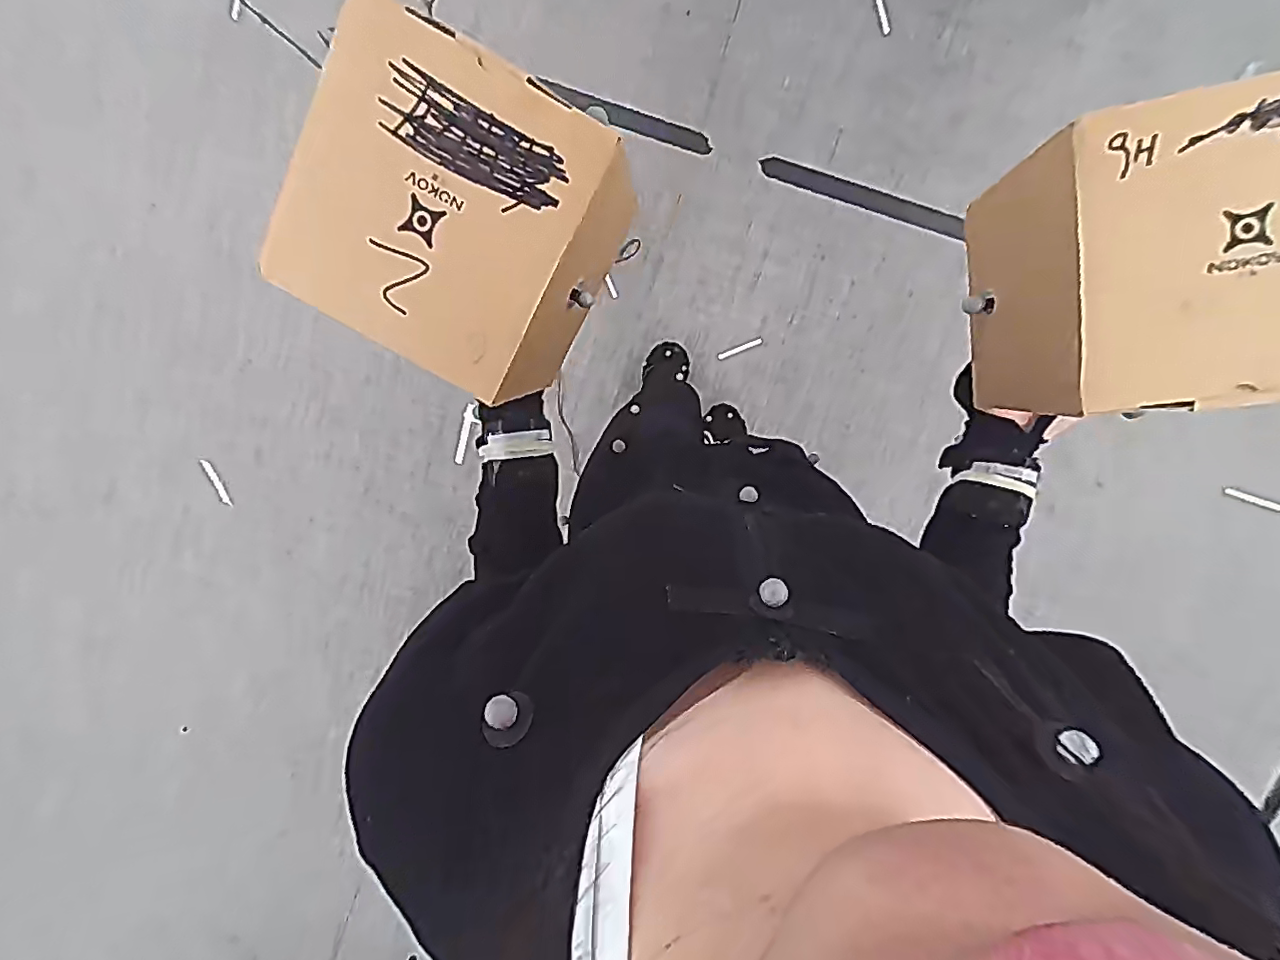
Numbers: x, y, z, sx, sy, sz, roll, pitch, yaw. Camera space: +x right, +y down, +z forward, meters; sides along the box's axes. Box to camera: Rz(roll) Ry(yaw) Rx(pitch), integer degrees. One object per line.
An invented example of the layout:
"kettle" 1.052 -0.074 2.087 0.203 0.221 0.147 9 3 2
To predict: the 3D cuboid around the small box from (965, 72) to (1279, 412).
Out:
"small box" 0.355 -0.151 0.388 0.168 0.176 0.179 -6 100 12
